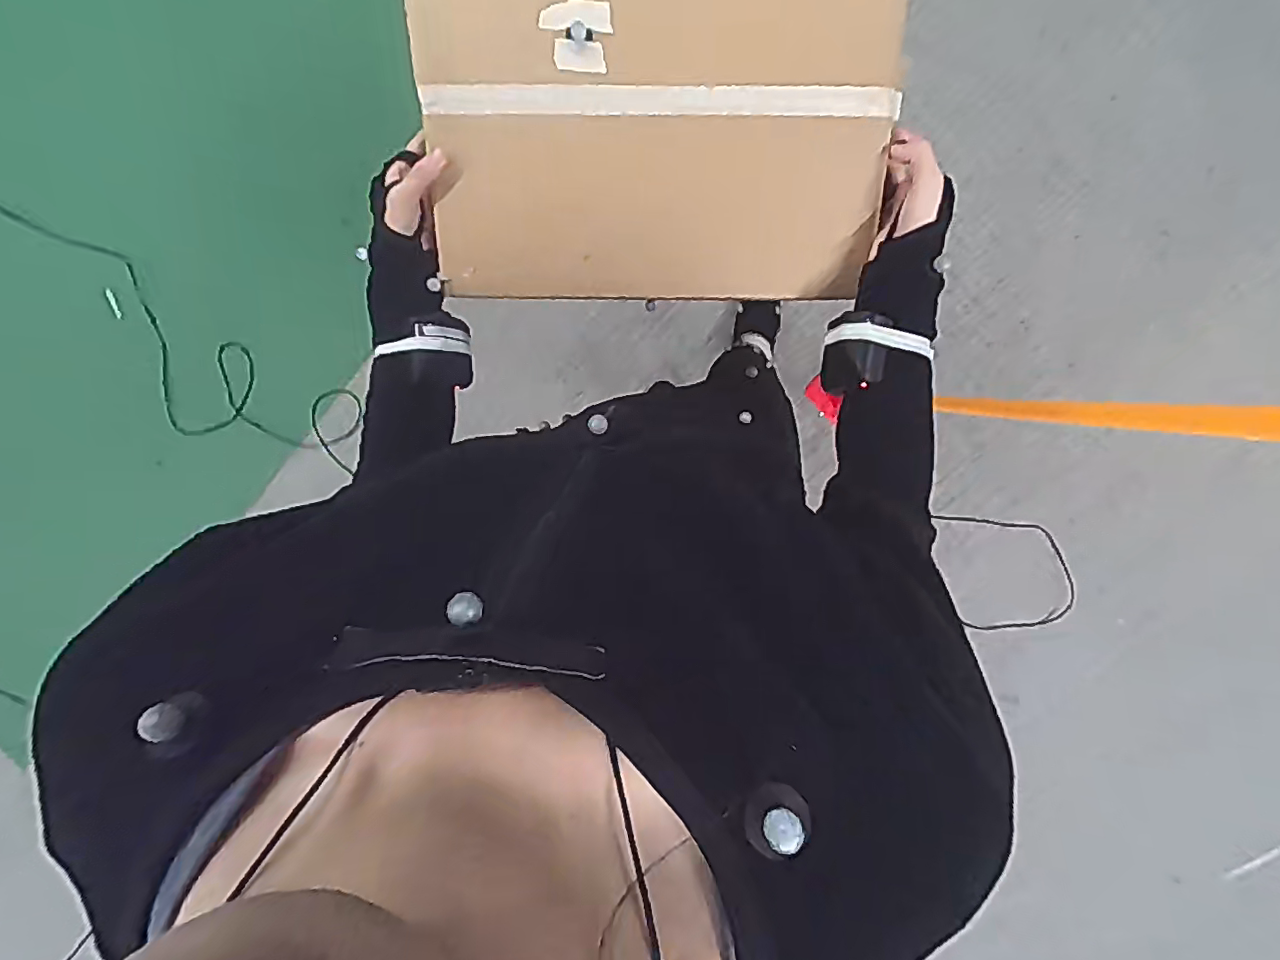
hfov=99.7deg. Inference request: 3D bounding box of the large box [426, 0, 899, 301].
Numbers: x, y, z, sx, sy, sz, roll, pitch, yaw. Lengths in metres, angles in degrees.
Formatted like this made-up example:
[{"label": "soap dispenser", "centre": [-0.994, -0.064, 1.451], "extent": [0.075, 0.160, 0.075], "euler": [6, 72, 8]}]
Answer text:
[{"label": "large box", "centre": [0.018, -0.378, 0.617], "extent": [0.408, 0.320, 0.320], "euler": [1, 109, -1]}]
